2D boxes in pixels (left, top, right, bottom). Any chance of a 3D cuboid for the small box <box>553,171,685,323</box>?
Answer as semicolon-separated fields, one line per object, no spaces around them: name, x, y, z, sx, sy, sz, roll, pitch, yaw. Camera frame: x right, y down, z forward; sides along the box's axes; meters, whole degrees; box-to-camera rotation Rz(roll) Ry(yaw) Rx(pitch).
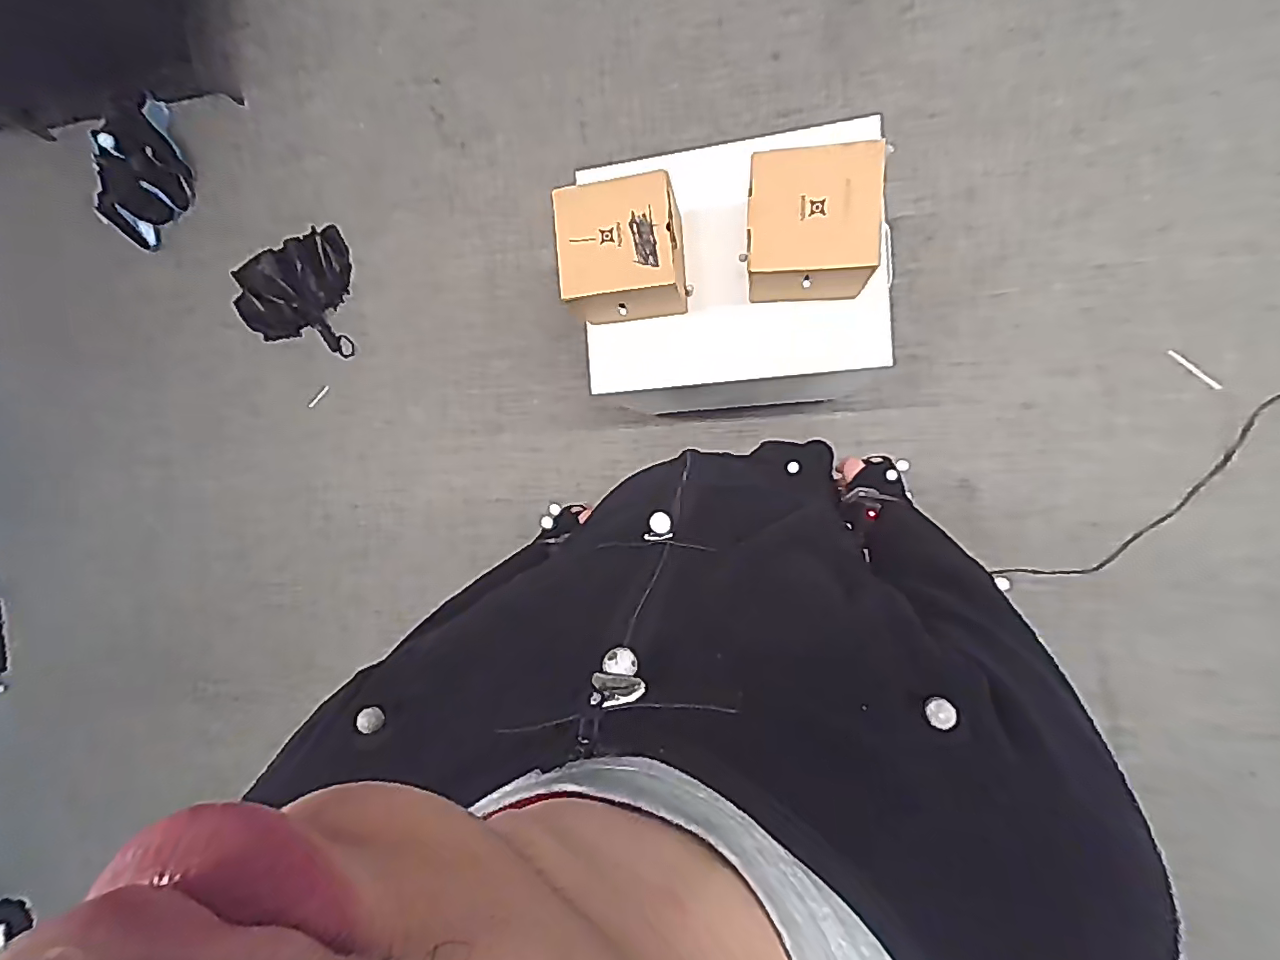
small box;-0.023;-0.359;0.867;0.179;0.176;0.168;-4;92;12

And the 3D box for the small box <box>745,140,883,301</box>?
small box;0.252;-0.373;0.811;0.179;0.176;0.168;1;95;12
